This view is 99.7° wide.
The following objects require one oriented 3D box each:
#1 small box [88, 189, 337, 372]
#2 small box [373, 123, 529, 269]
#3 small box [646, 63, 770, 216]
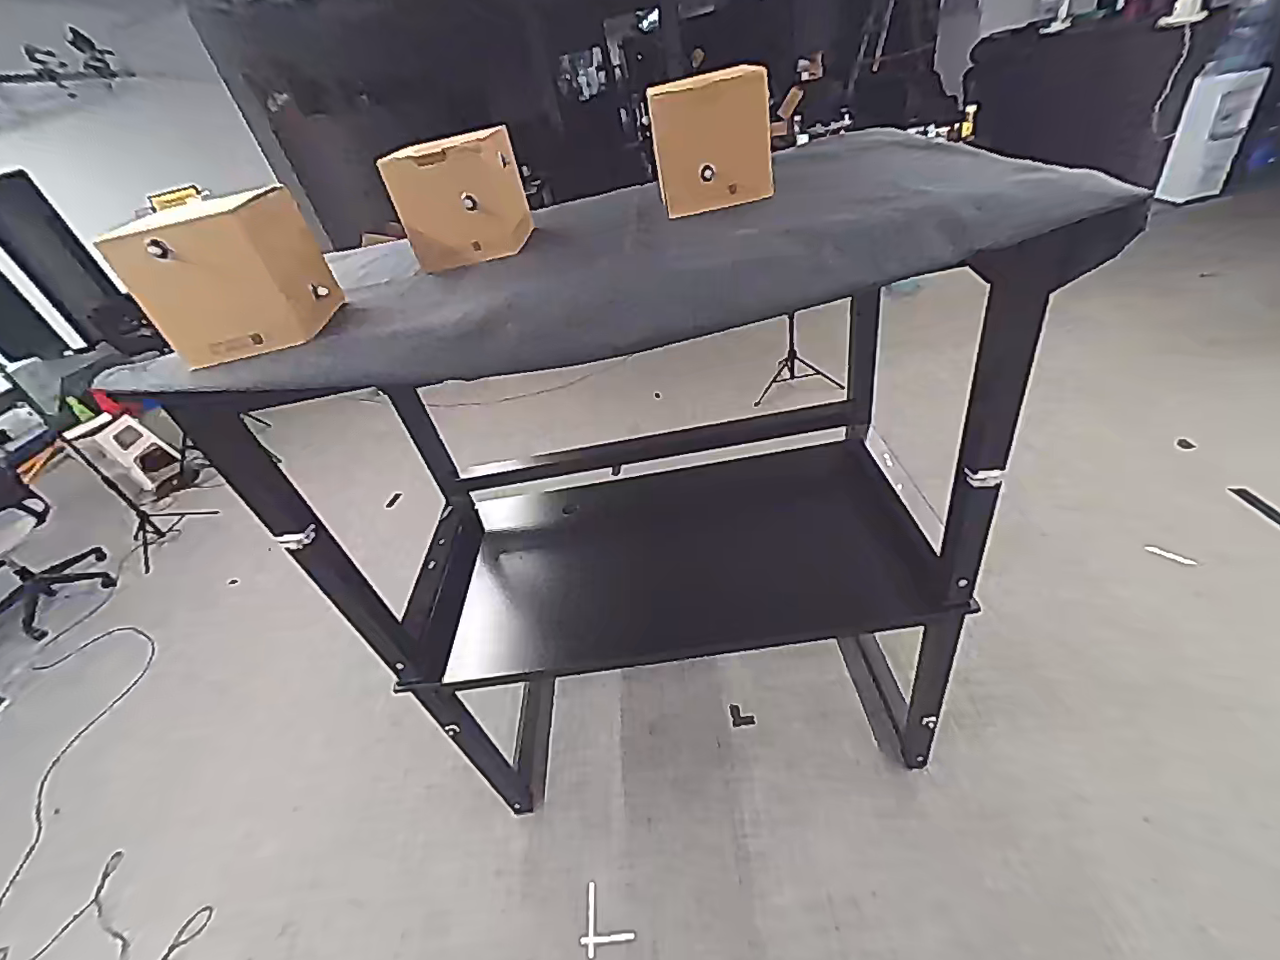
[{"bbox_3d":[-0.540,-0.267,0.721,0.168,0.176,0.179,-14,38,0],"label":"small box"},{"bbox_3d":[-0.293,-0.461,0.889,0.168,0.176,0.179,-8,39,7],"label":"small box"},{"bbox_3d":[0.105,-0.536,0.856,0.168,0.176,0.179,-10,39,6],"label":"small box"}]
